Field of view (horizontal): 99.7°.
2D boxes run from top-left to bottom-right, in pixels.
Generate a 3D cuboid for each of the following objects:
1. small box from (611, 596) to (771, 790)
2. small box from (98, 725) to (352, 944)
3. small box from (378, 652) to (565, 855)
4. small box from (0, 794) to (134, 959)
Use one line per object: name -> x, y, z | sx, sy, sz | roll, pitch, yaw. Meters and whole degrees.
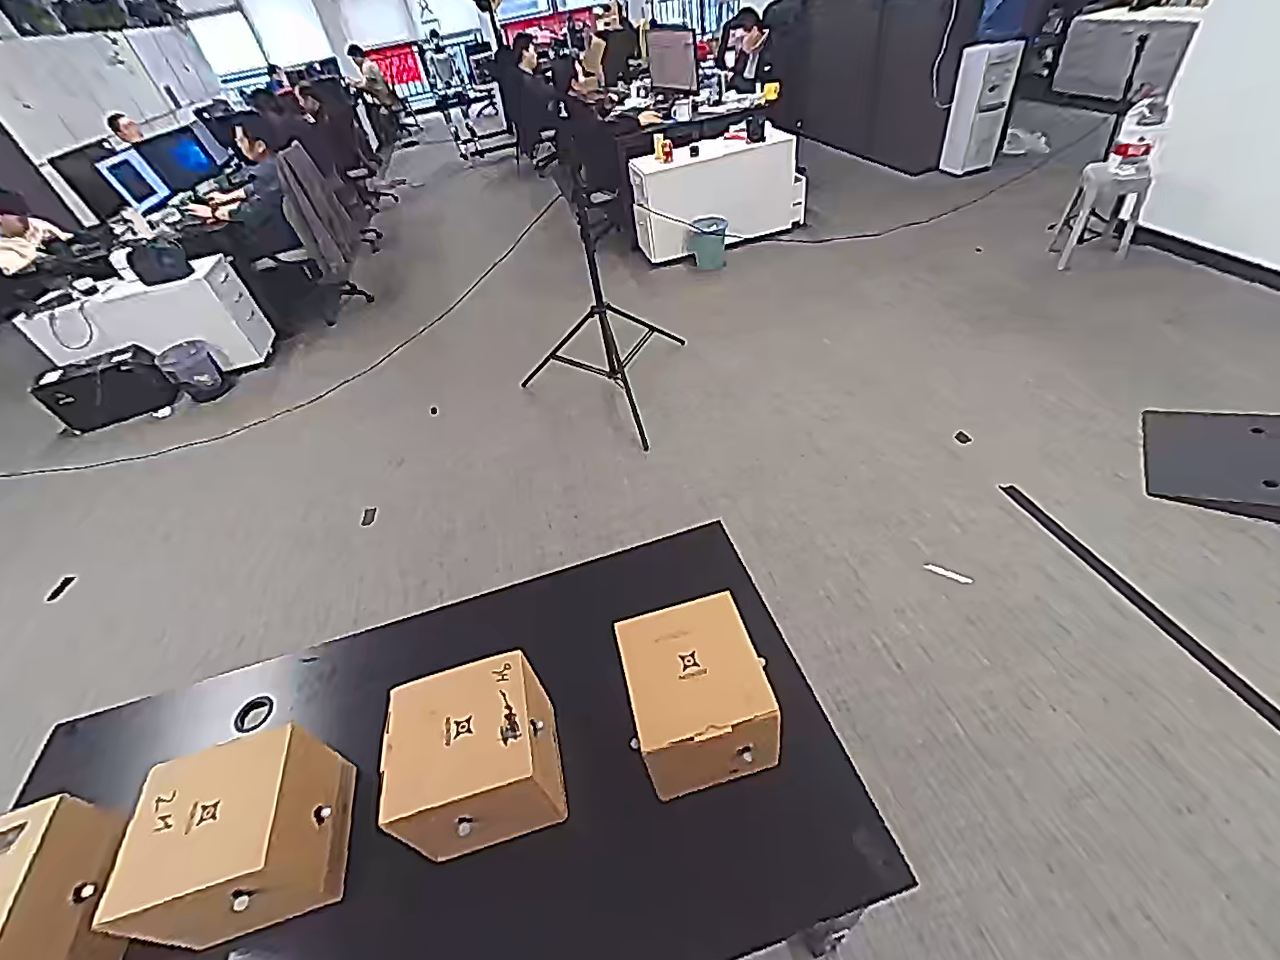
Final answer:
small box -> 0.068, 0.292, 0.730 | 0.168, 0.176, 0.179 | -15, 42, -4
small box -> -0.492, 0.445, 0.681 | 0.179, 0.176, 0.168 | -17, 43, -7
small box -> -0.213, 0.362, 0.714 | 0.179, 0.176, 0.168 | -16, 43, -4
small box -> -0.746, 0.523, 0.652 | 0.168, 0.176, 0.179 | -18, 44, -7
